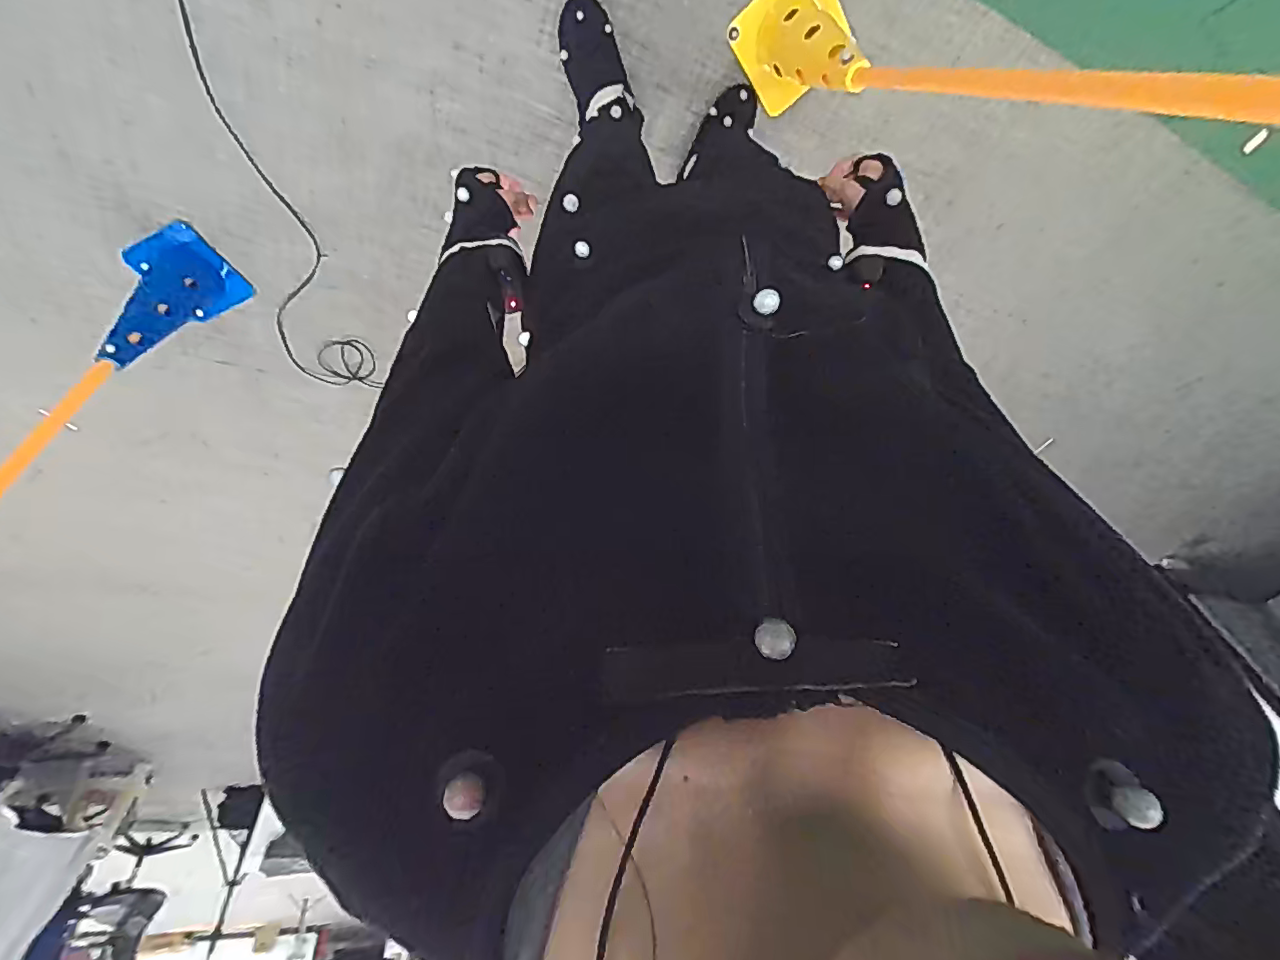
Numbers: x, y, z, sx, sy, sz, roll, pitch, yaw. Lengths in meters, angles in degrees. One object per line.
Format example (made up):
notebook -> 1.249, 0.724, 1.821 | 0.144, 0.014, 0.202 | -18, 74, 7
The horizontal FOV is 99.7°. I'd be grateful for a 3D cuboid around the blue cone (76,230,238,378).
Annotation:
blue cone -> -1.058, -0.341, 1.154 | 0.193, 0.380, 0.192 | -19, 137, 14
